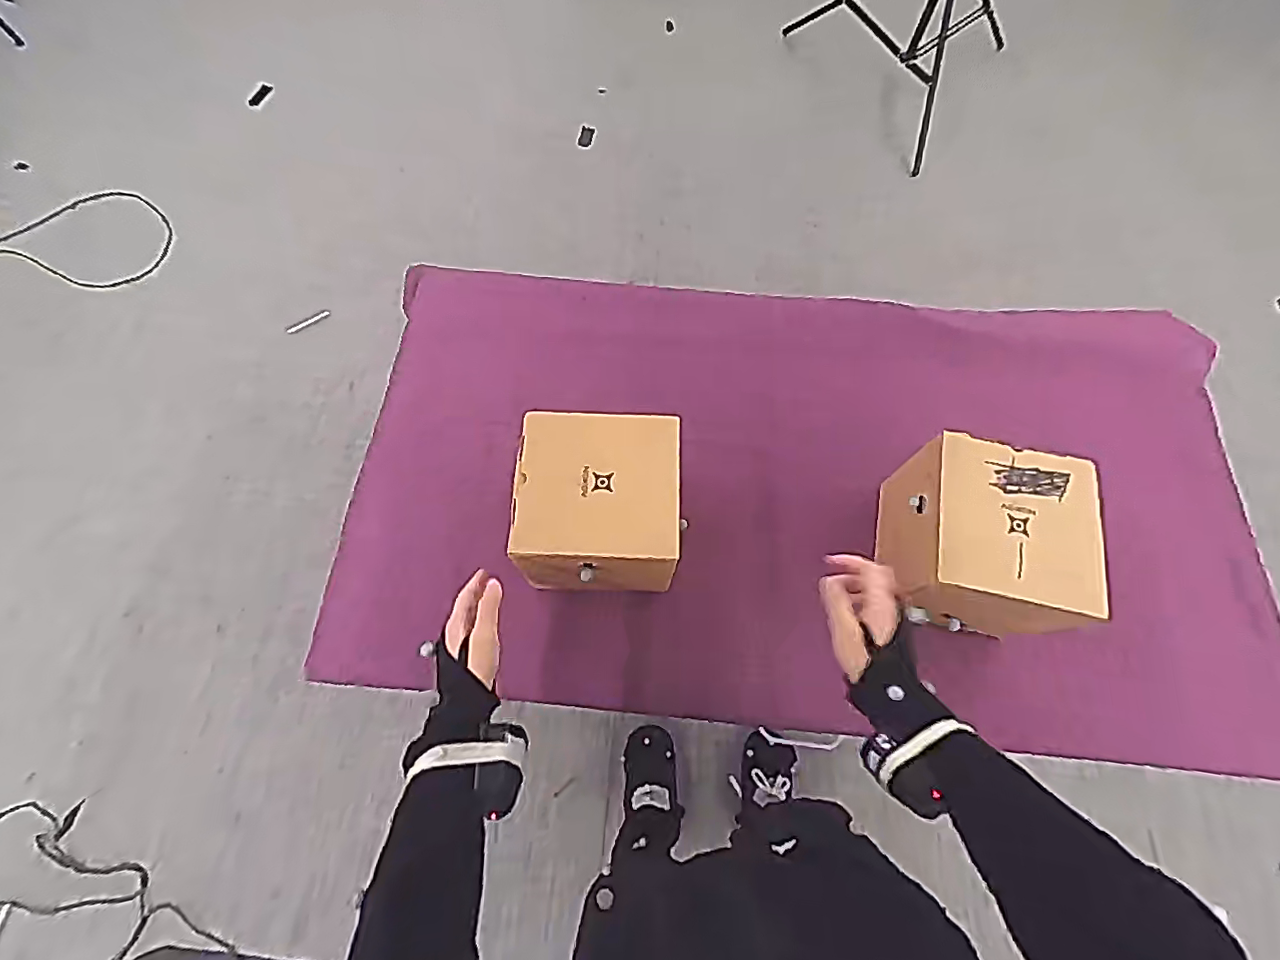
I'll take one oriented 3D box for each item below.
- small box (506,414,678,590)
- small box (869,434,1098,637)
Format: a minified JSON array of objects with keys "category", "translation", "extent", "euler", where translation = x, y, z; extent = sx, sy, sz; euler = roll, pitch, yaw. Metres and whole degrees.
[{"category":"small box","translation":[-0.048,0.035,0.652],"extent":[0.179,0.176,0.168],"euler":[2,68,0]},{"category":"small box","translation":[0.388,0.073,0.640],"extent":[0.168,0.176,0.179],"euler":[13,69,5]}]
